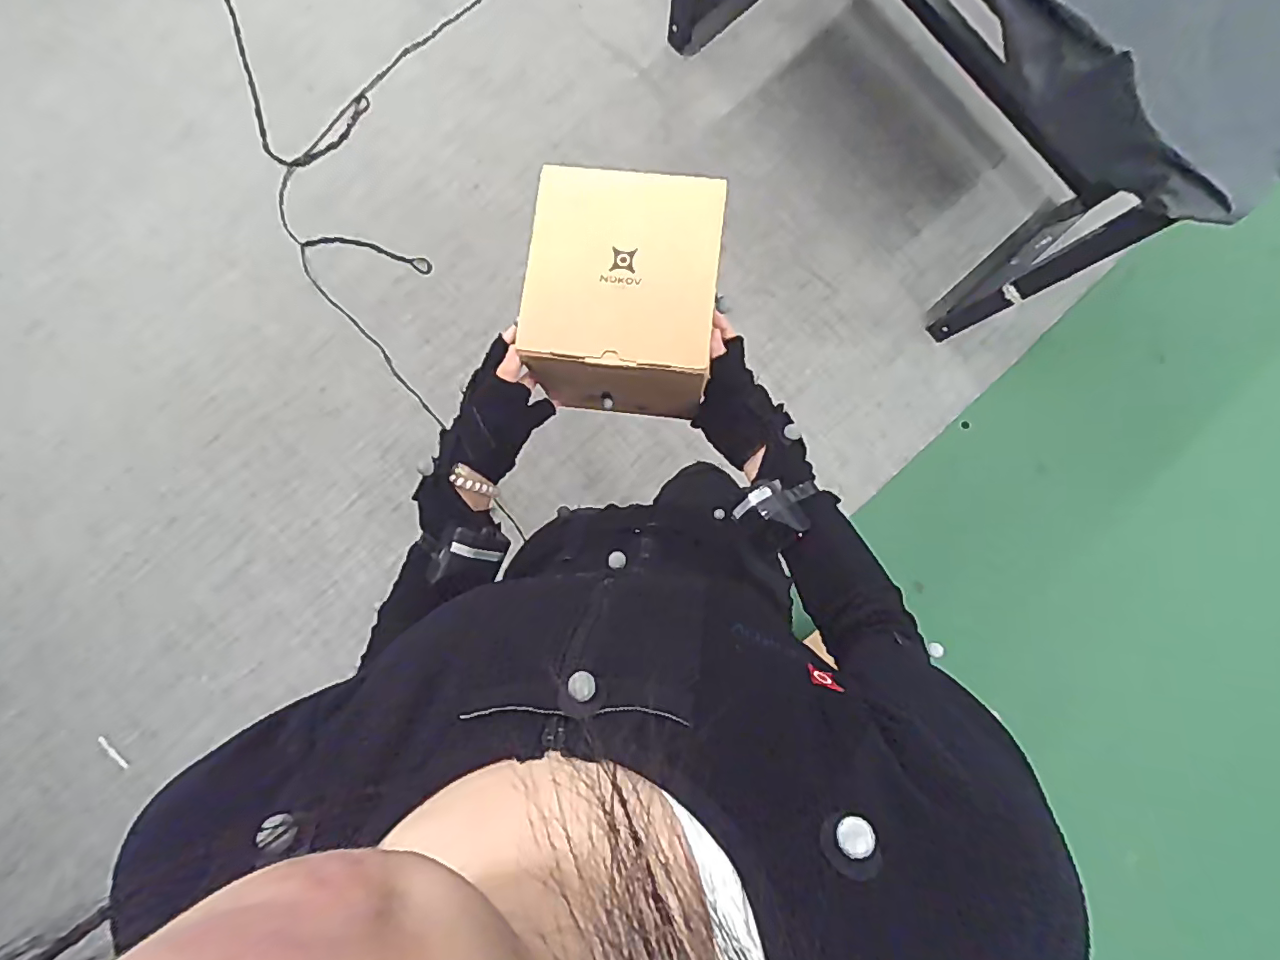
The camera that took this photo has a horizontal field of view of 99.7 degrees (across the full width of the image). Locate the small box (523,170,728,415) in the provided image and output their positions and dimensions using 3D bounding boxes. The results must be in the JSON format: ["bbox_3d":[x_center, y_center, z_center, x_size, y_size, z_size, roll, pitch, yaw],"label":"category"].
[{"bbox_3d":[-0.010,-0.178,0.559,0.168,0.176,0.179,7,85,3],"label":"small box"}]
